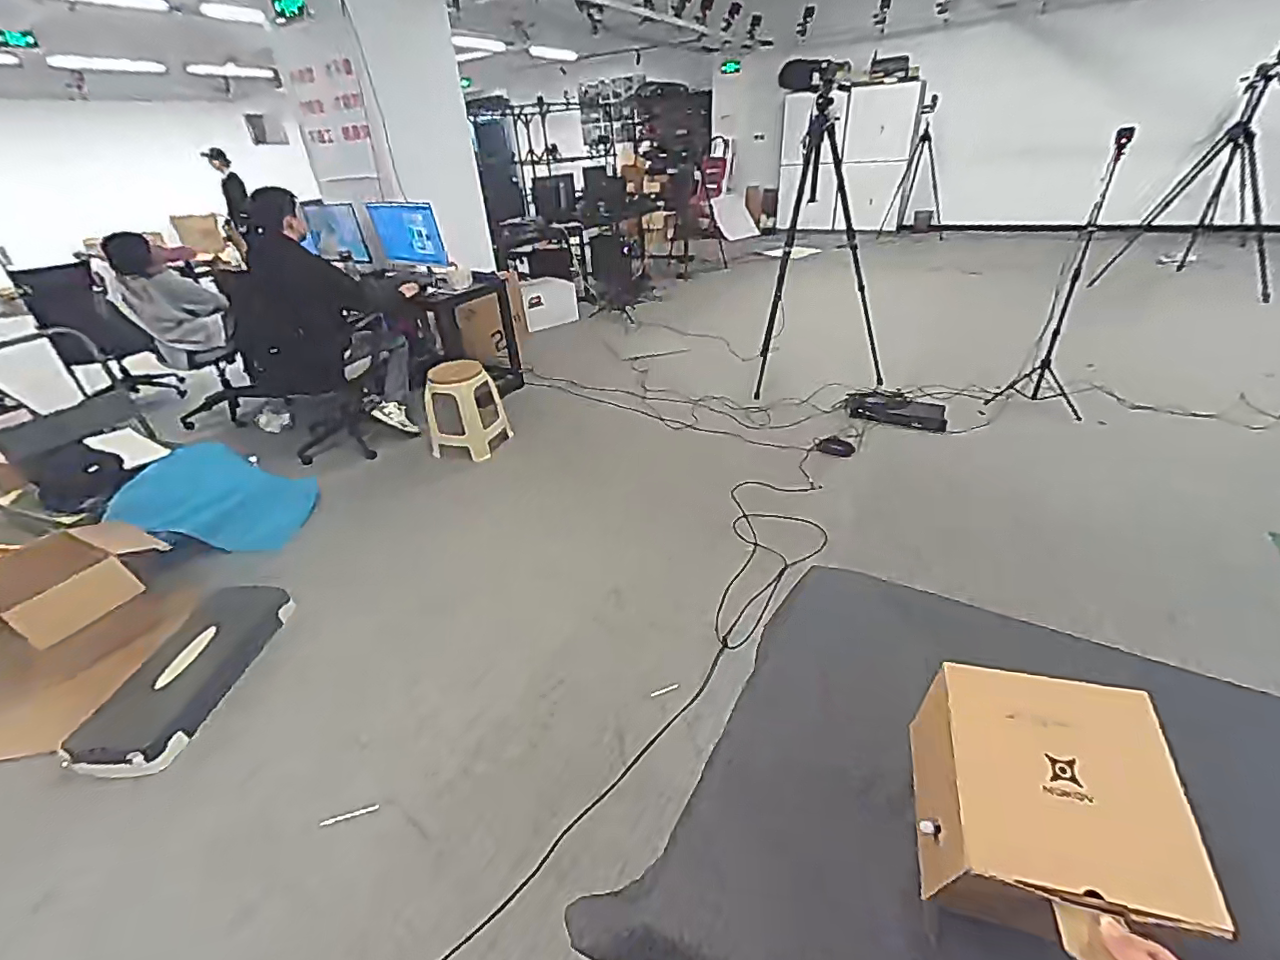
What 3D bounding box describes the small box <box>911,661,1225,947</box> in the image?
[{"bbox_3d":[0.364,0.301,0.507,0.168,0.176,0.179,5,46,16],"label":"small box"}]
